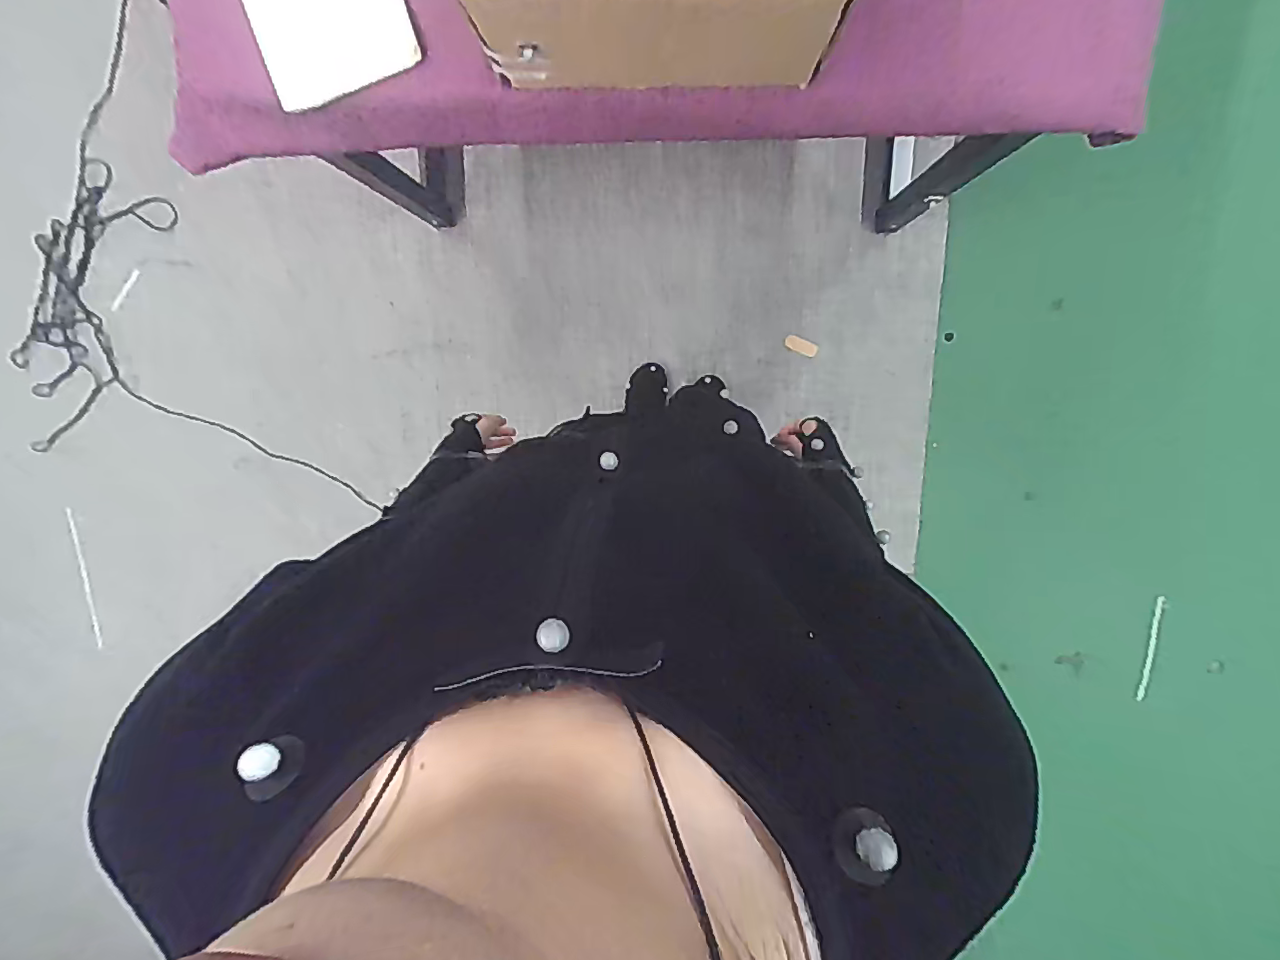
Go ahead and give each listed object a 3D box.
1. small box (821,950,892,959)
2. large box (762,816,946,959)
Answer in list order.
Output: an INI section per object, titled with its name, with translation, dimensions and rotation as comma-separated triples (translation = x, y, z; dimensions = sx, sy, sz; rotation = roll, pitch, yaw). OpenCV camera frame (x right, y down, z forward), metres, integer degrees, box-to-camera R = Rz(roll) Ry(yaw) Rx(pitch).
[small box]
translation = 0.561, 1.302, 1.325
dimensions = 0.179, 0.176, 0.168
rotation = -10, 98, 6
[large box]
translation = 0.605, 1.249, 1.563
dimensions = 0.408, 0.320, 0.320
rotation = -14, 101, 5
